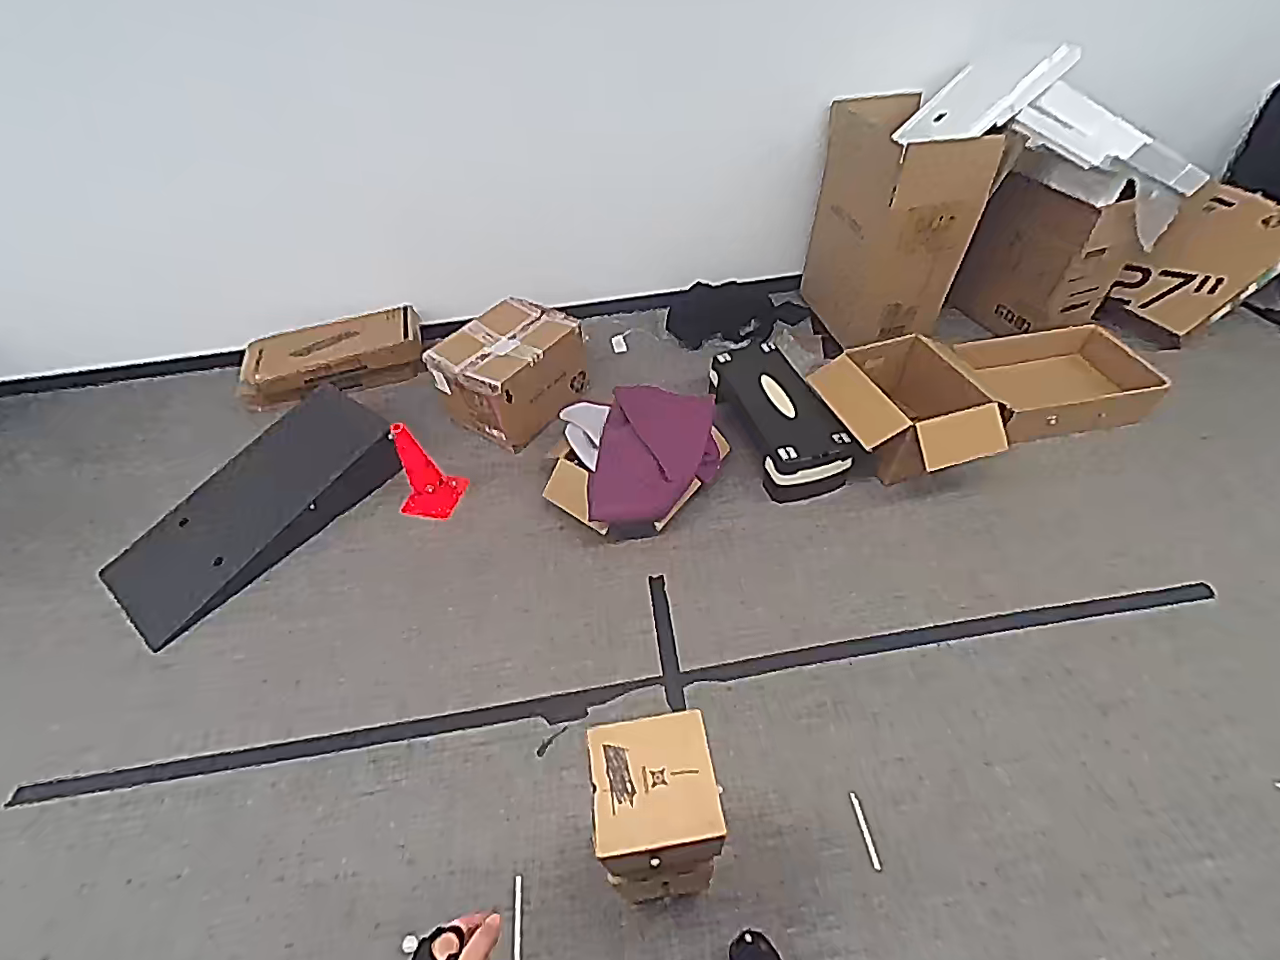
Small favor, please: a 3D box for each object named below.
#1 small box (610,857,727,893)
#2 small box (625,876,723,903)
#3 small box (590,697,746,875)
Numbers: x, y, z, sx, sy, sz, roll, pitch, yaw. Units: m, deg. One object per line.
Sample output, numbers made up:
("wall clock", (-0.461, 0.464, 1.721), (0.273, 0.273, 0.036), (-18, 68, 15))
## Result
("small box", (0.038, 0.538, 0.857), (0.168, 0.176, 0.179), (-8, 49, -2))
("small box", (0.048, 0.644, 0.982), (0.168, 0.176, 0.179), (-9, 49, -2))
("small box", (0.035, 0.421, 0.739), (0.179, 0.176, 0.168), (-8, 49, -3))
